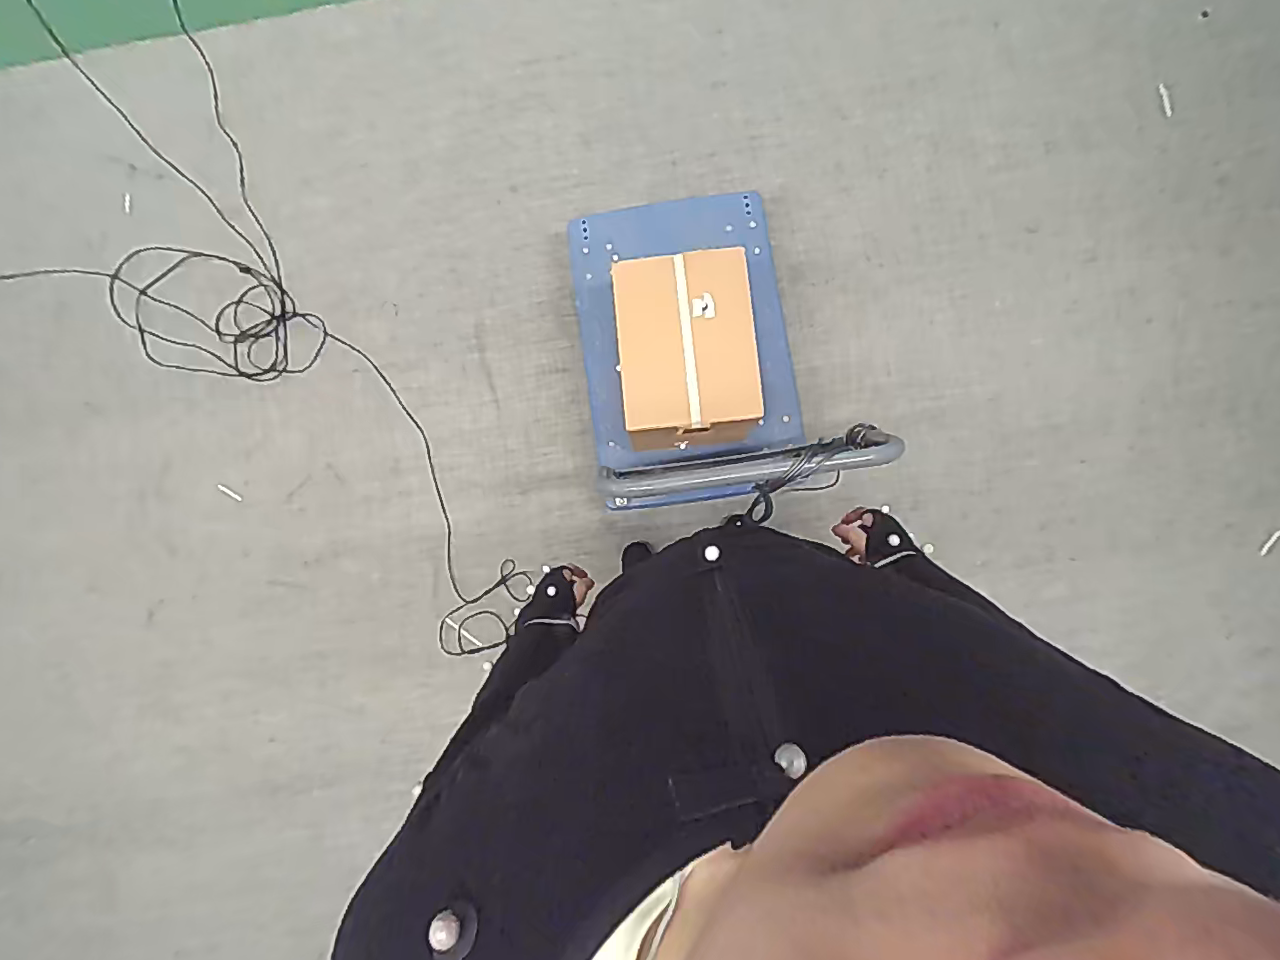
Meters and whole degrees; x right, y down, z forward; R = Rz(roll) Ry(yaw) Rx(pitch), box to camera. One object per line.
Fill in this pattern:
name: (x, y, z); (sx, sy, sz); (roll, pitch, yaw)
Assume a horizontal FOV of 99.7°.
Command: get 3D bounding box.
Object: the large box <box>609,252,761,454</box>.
large box: (0.107, -0.301, 1.381); (0.320, 0.320, 0.408); (-5, 83, 1)
